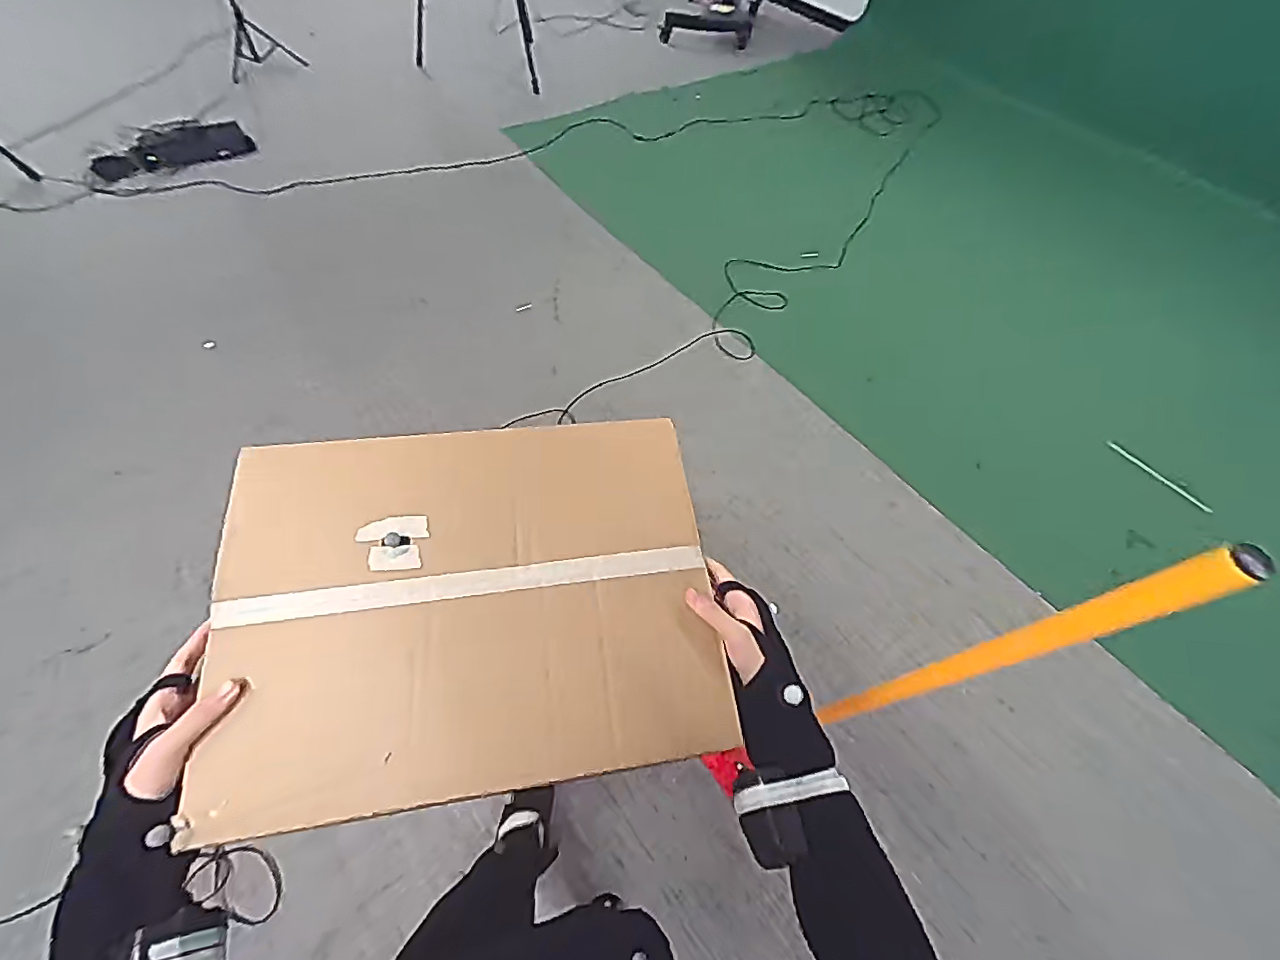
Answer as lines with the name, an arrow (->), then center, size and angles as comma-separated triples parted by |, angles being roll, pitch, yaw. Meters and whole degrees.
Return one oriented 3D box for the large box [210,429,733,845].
large box -> -0.153, 0.167, 0.613 | 0.408, 0.320, 0.320 | -6, 64, -9
